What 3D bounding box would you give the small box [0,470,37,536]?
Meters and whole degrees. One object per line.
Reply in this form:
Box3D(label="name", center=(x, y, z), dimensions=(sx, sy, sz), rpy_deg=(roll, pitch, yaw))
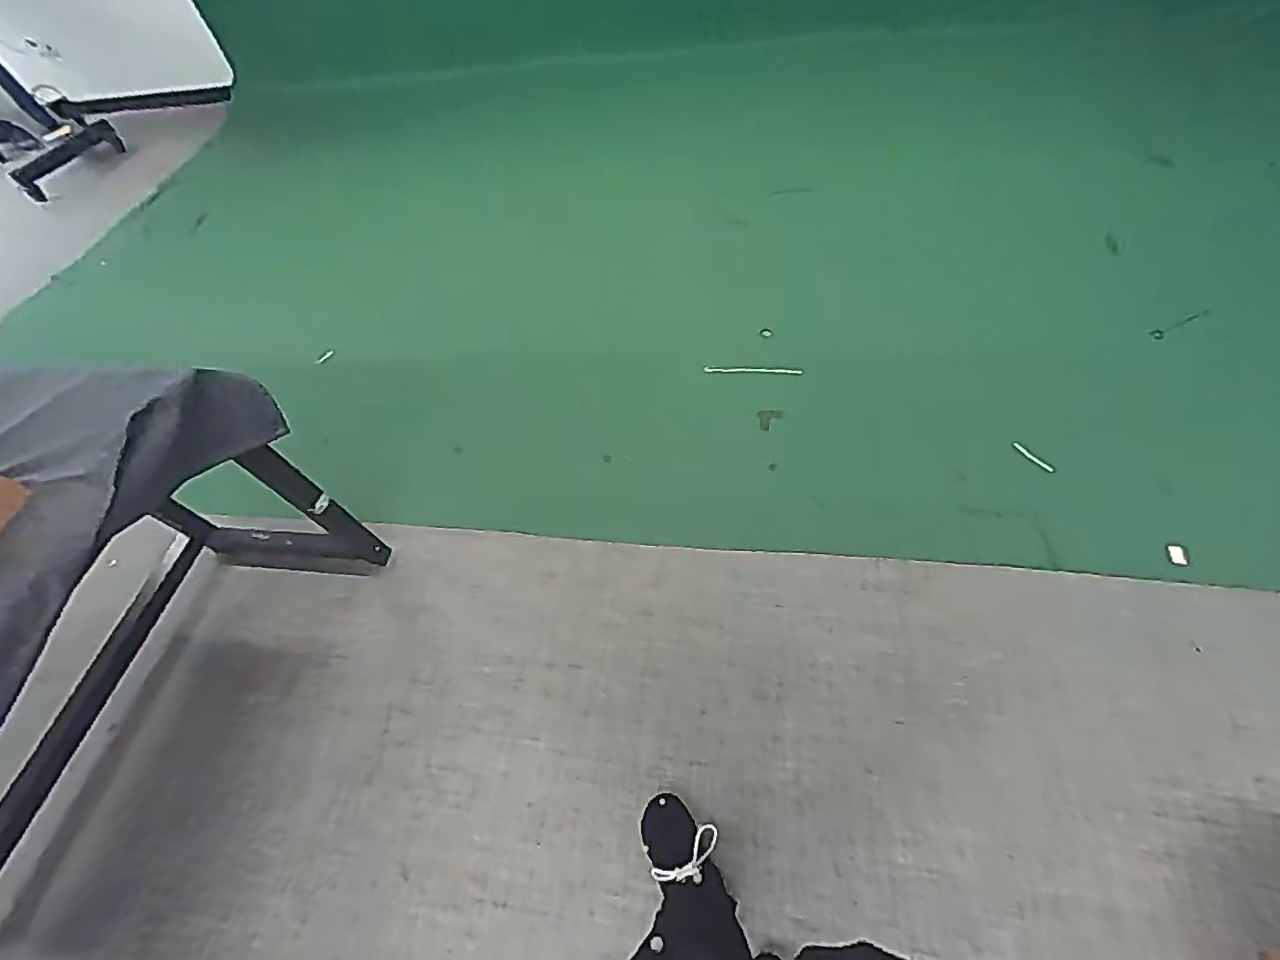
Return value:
Box3D(label="small box", center=(-1.052, 0.038, 0.767), dimensions=(0.168, 0.176, 0.179), rpy_deg=(4, 57, 11))
